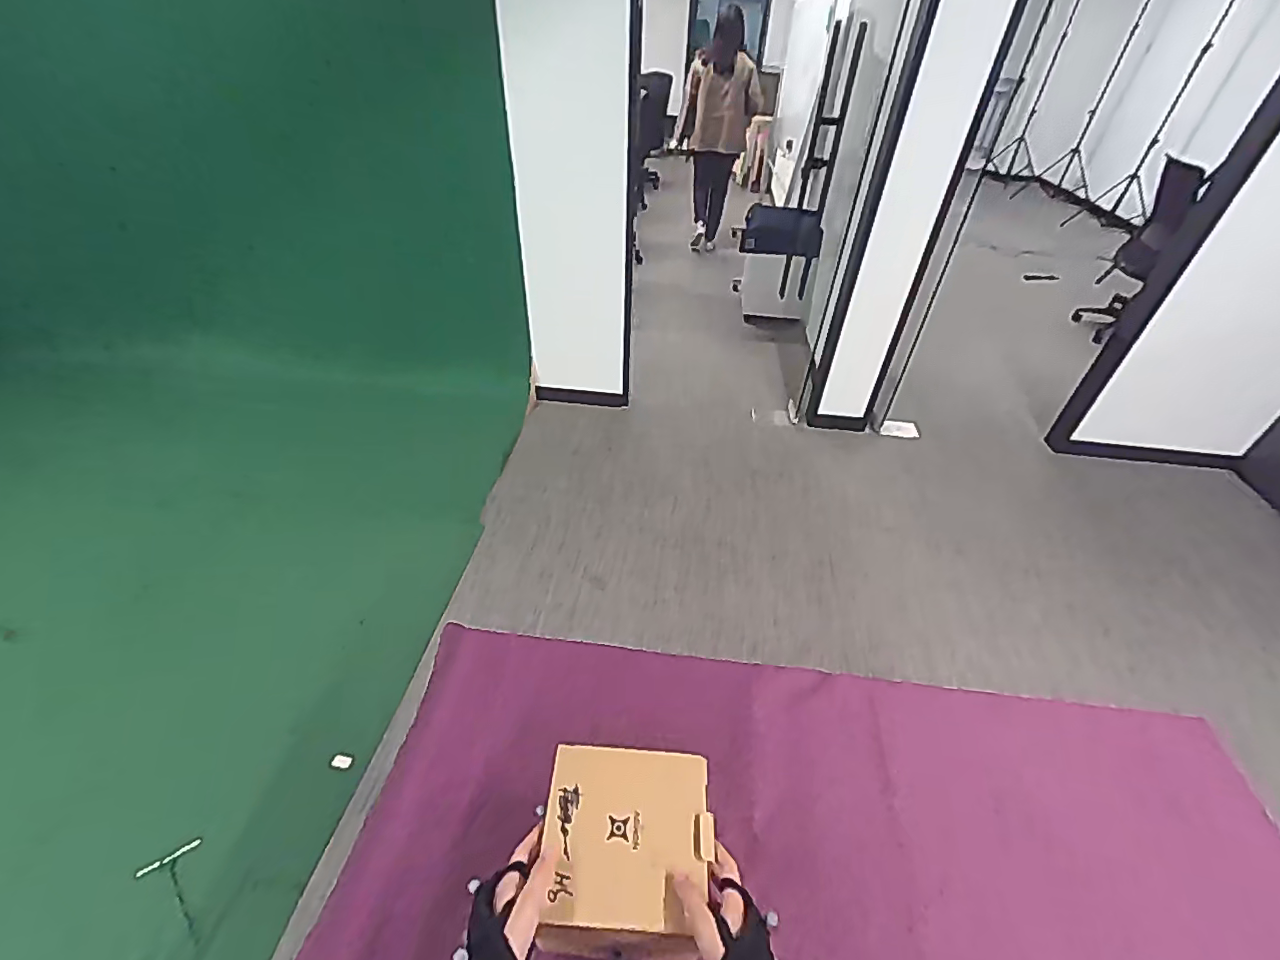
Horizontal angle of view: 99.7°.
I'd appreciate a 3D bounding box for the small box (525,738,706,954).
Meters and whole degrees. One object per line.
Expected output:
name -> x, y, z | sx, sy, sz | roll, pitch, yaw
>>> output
small box -> -0.024, 0.425, 0.626 | 0.179, 0.176, 0.168 | 5, 42, 1
